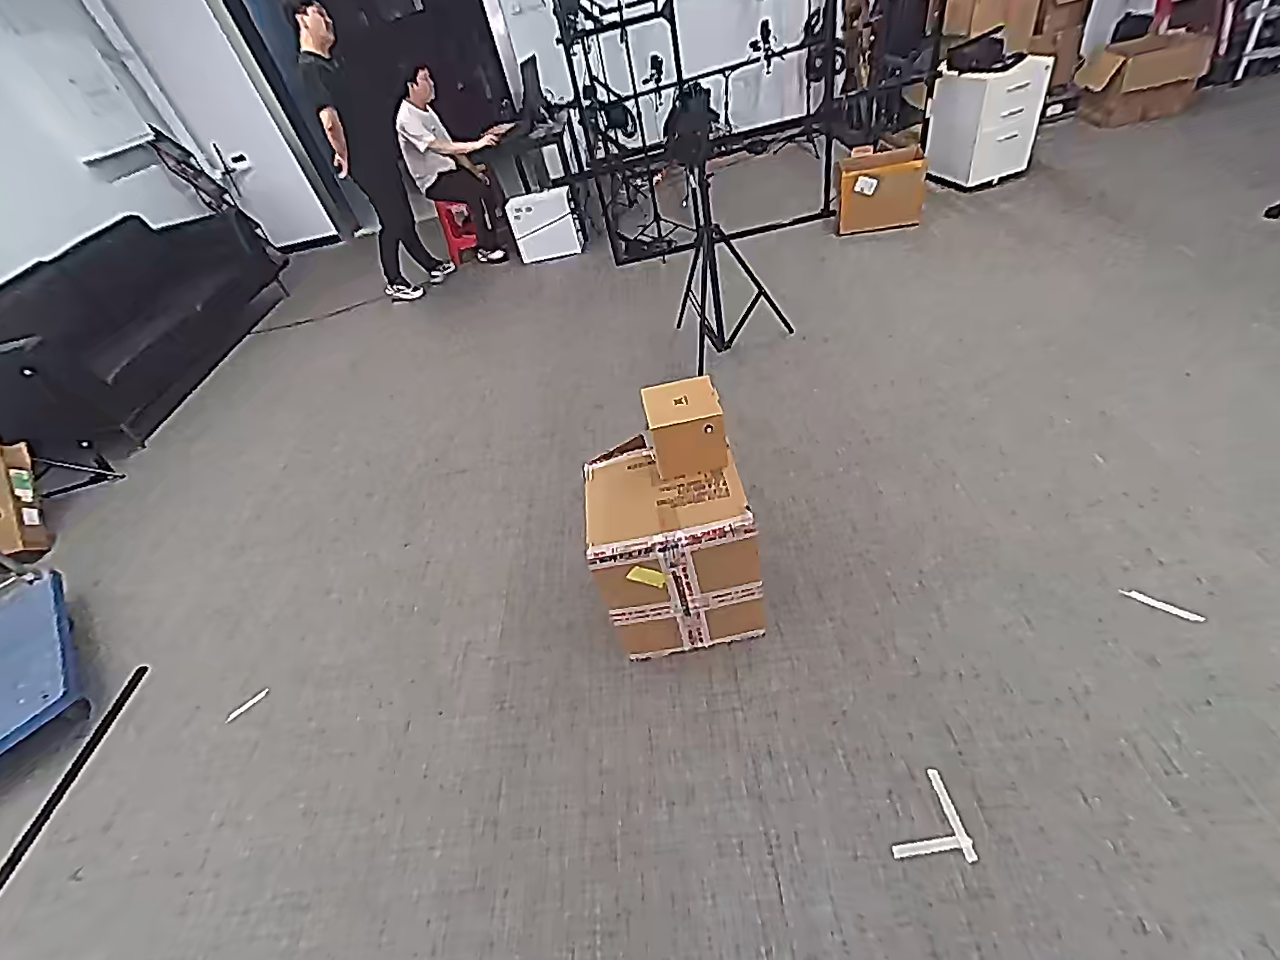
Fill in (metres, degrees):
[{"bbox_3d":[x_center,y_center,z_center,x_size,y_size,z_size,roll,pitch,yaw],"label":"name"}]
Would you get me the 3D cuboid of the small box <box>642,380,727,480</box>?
[{"bbox_3d":[0.112,-0.119,1.346,0.179,0.176,0.168,-12,44,1],"label":"small box"}]
